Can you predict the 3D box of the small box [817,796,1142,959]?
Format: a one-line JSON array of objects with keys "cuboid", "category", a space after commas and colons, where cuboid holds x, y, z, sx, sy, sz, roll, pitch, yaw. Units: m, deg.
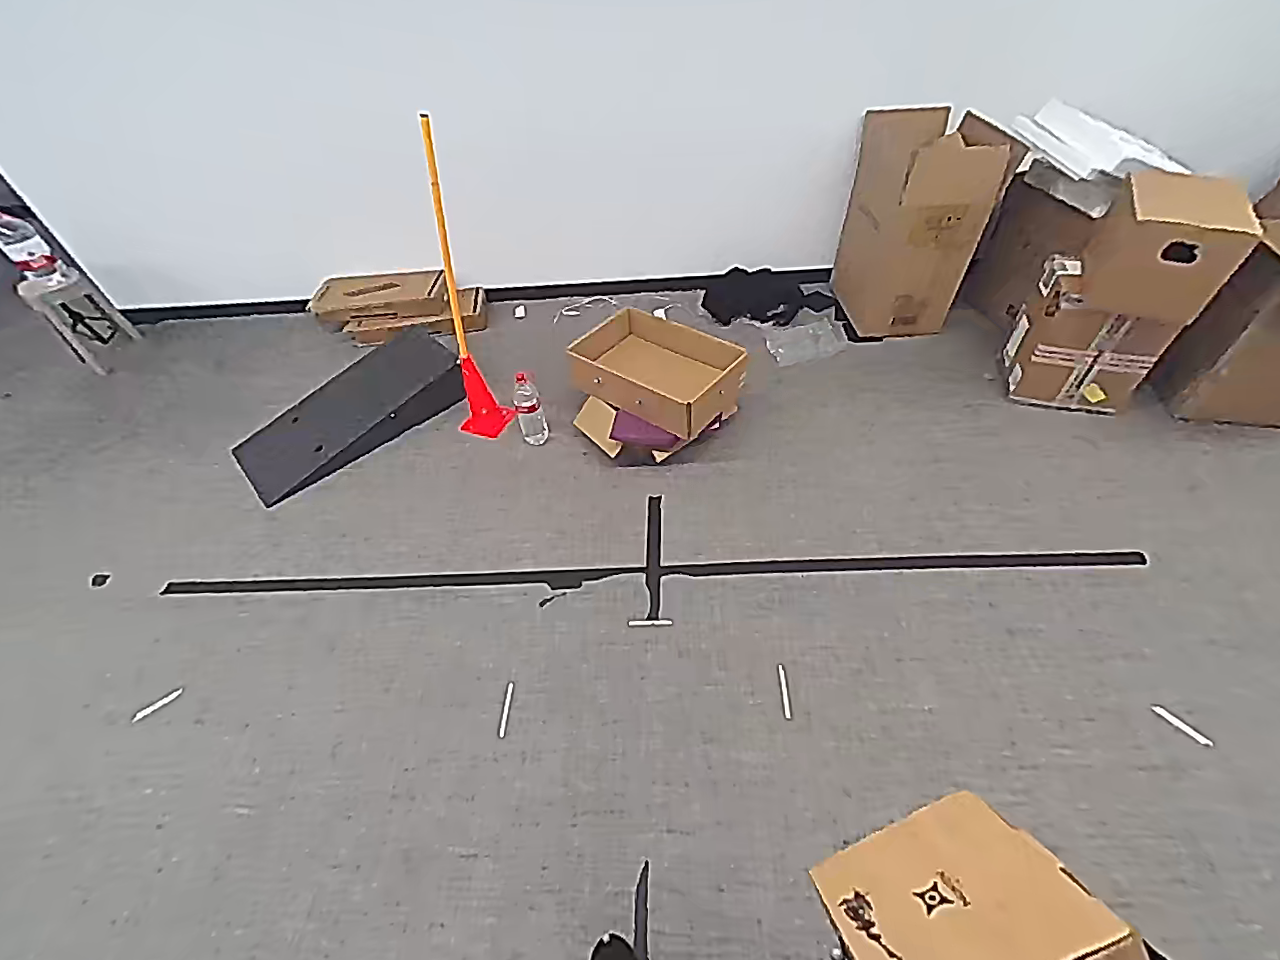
[{"cuboid": [0.282, 0.416, 0.446, 0.179, 0.168, 0.176, -23, 91, -3], "category": "small box"}]
